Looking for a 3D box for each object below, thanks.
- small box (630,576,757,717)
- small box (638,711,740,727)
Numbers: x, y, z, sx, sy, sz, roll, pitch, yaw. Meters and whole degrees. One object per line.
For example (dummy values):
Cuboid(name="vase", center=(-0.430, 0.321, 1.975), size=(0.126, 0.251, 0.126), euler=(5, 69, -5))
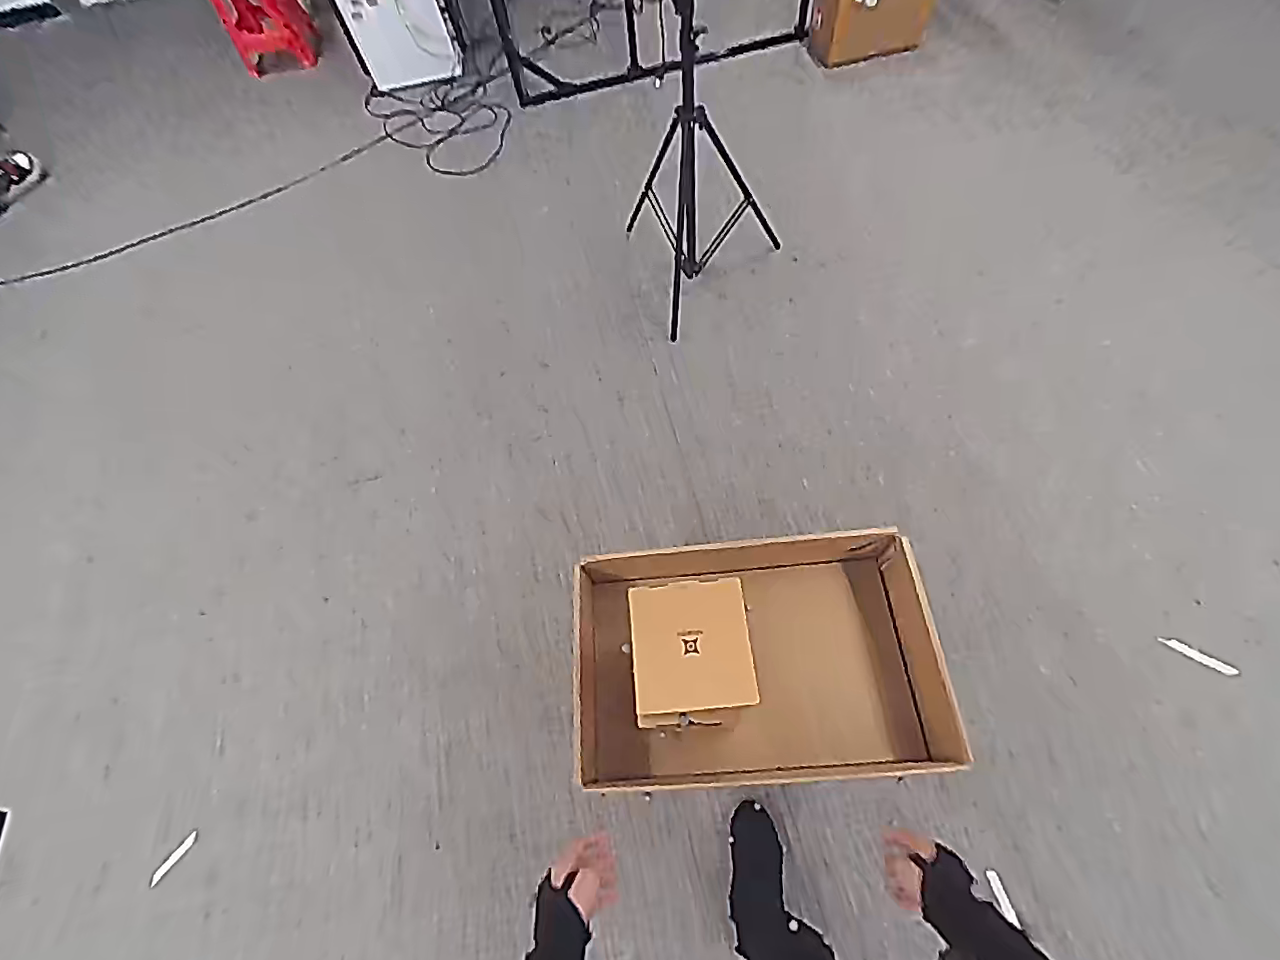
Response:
Cuboid(name="small box", center=(0.079, 0.260, 0.824), size=(0.168, 0.176, 0.179), euler=(-7, 62, 3))
Cuboid(name="small box", center=(0.087, 0.344, 0.965), size=(0.168, 0.176, 0.179), euler=(-3, 62, 5))
